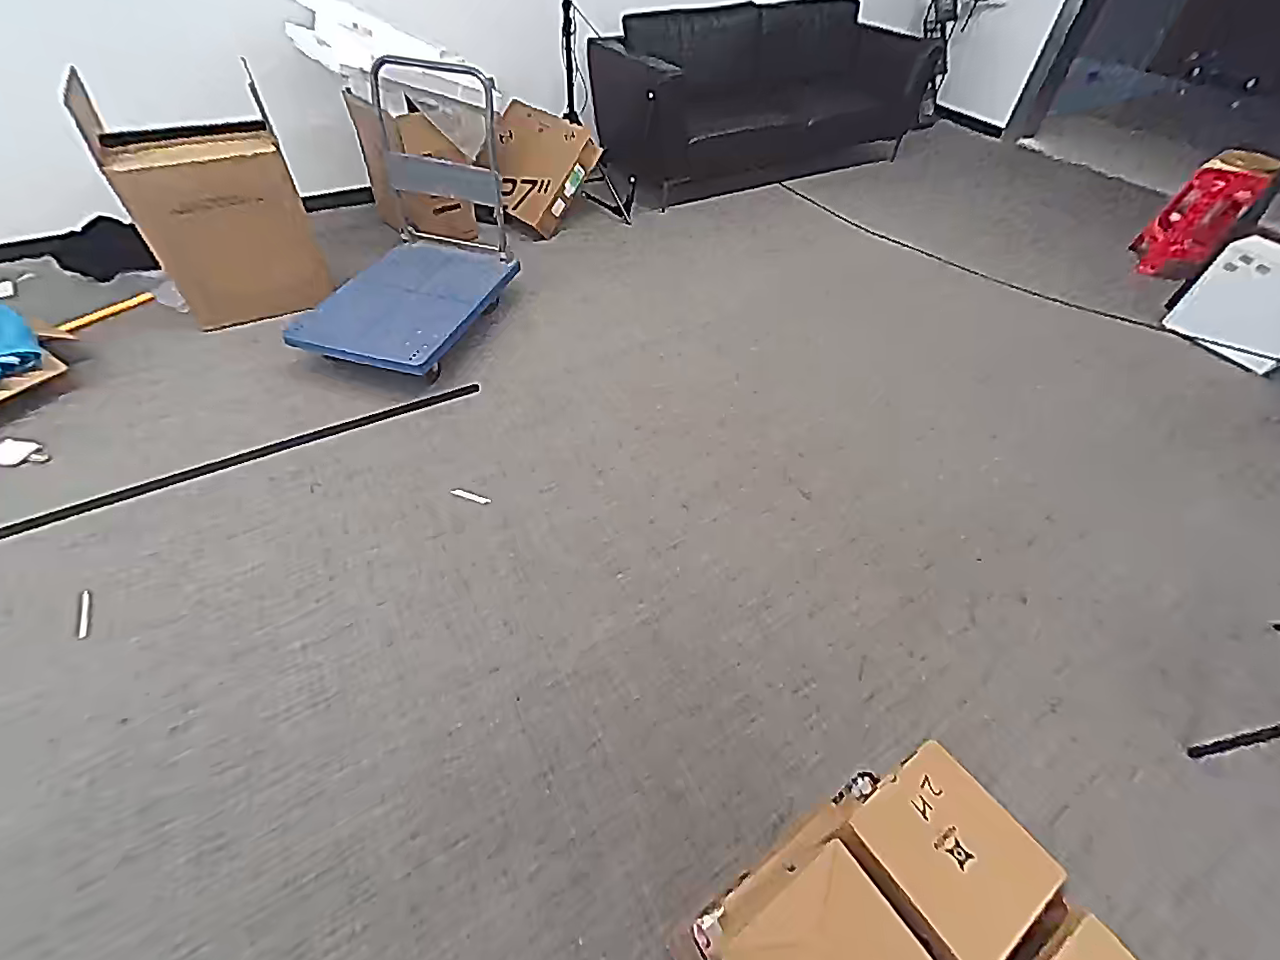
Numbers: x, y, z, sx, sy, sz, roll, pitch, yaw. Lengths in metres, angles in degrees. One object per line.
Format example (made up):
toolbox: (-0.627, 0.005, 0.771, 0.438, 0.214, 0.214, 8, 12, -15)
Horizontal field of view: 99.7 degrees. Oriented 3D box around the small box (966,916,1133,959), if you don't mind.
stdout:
small box: (0.448, 0.596, 0.557, 0.168, 0.176, 0.179, -25, 54, -22)
